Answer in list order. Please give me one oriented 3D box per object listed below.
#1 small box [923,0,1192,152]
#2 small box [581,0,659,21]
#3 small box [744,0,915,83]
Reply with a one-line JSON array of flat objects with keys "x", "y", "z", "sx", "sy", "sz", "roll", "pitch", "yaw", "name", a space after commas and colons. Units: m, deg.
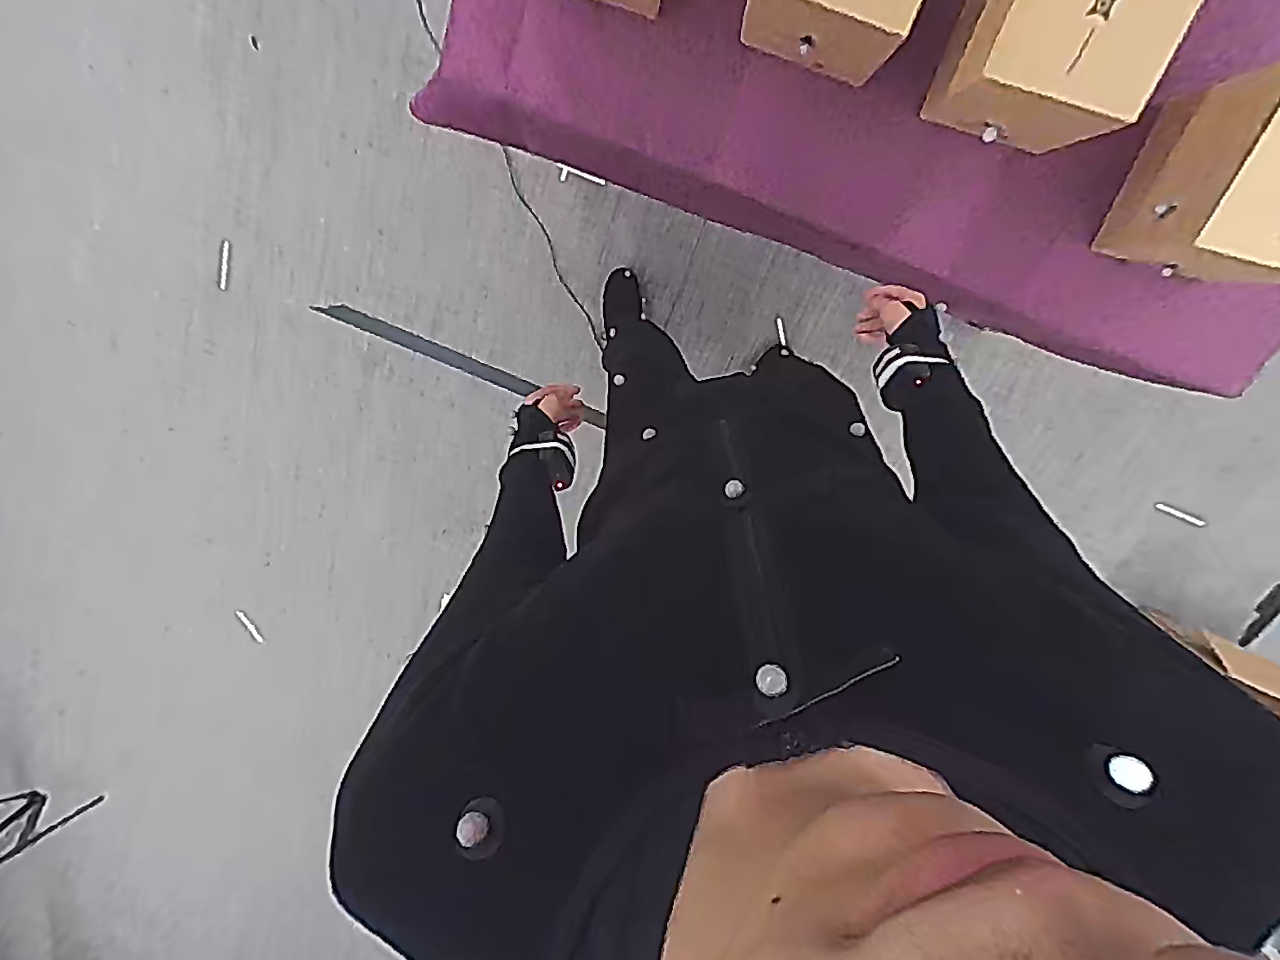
[{"x": 0.448, "y": -0.492, "z": 0.593, "sx": 0.168, "sy": 0.176, "sz": 0.179, "roll": 16, "pitch": 112, "yaw": -1, "name": "small box"}, {"x": -0.042, "y": -0.652, "z": 0.579, "sx": 0.168, "sy": 0.176, "sz": 0.179, "roll": 18, "pitch": 112, "yaw": -1, "name": "small box"}, {"x": 0.220, "y": -0.573, "z": 0.584, "sx": 0.168, "sy": 0.176, "sz": 0.179, "roll": 19, "pitch": 111, "yaw": -2, "name": "small box"}]
